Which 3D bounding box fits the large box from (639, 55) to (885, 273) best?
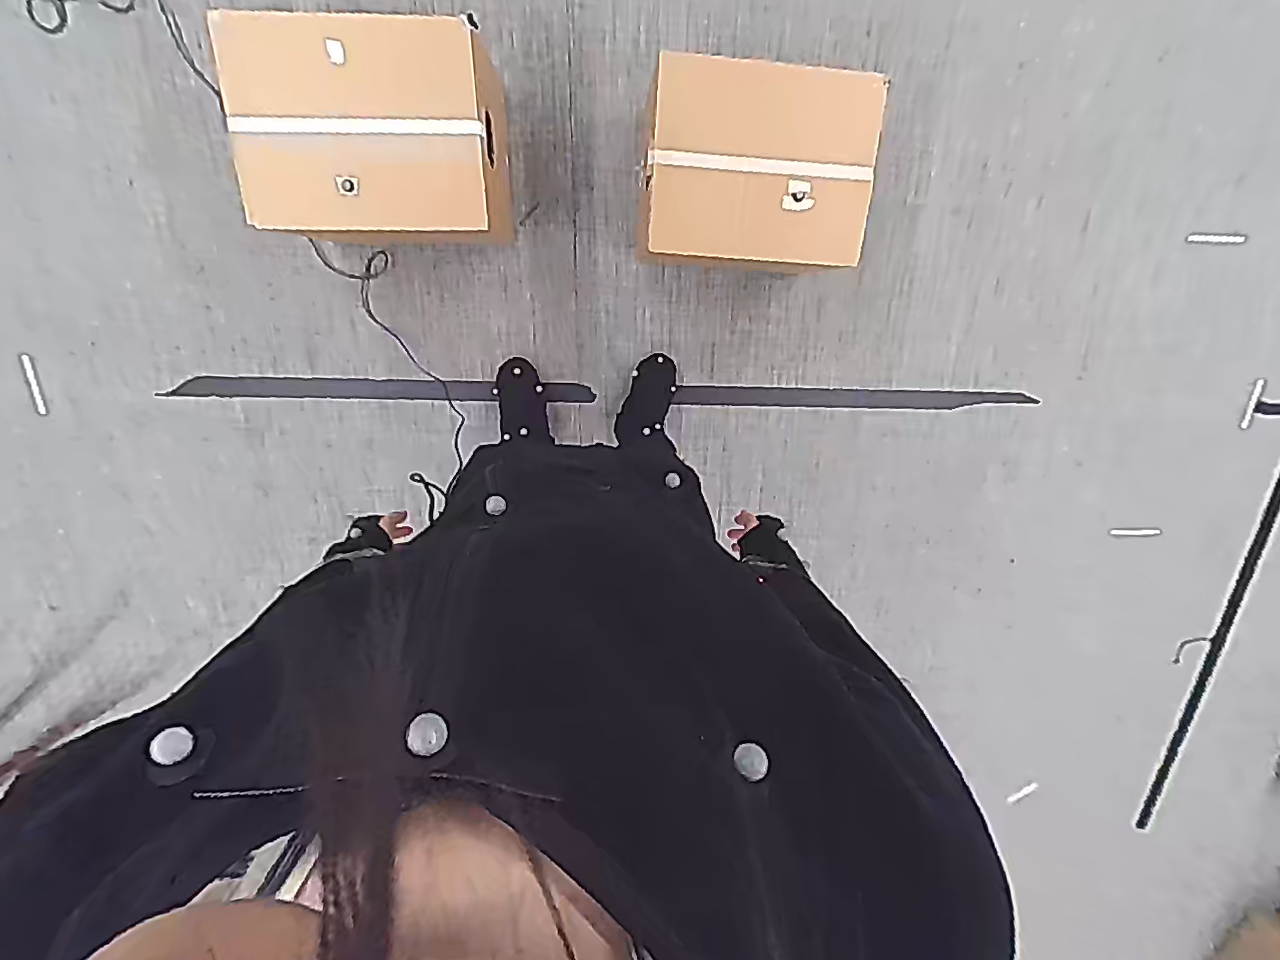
[{"bbox_3d":[0.212,-0.609,1.114,0.408,0.320,0.320,2,108,-6],"label":"large box"}]
